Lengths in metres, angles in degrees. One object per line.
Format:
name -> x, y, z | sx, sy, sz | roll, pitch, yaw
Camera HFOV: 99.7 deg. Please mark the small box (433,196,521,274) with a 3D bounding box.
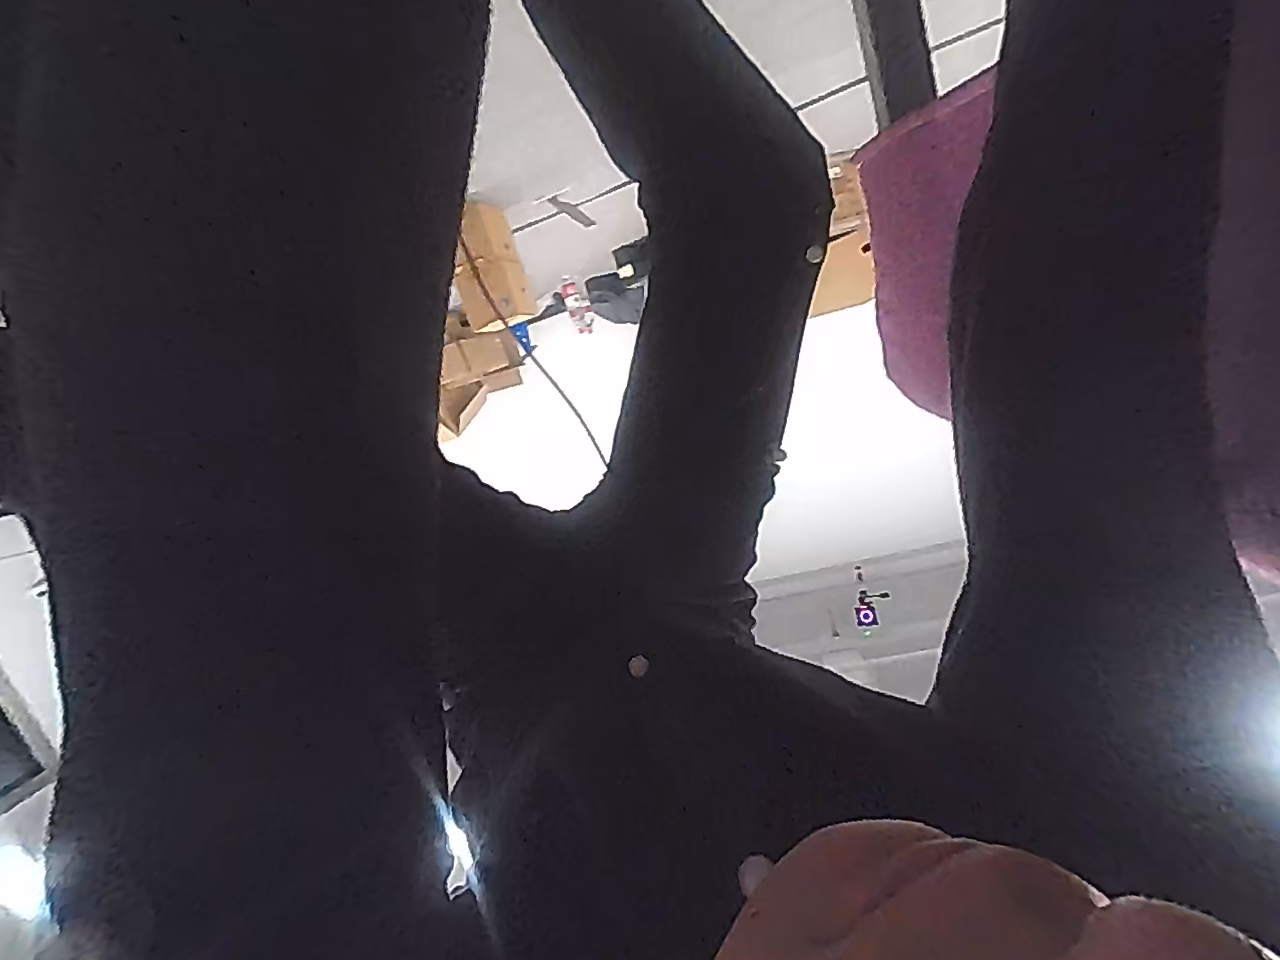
small box -> -0.494, -0.745, 1.653 | 0.168, 0.176, 0.179 | -14, -167, 18
